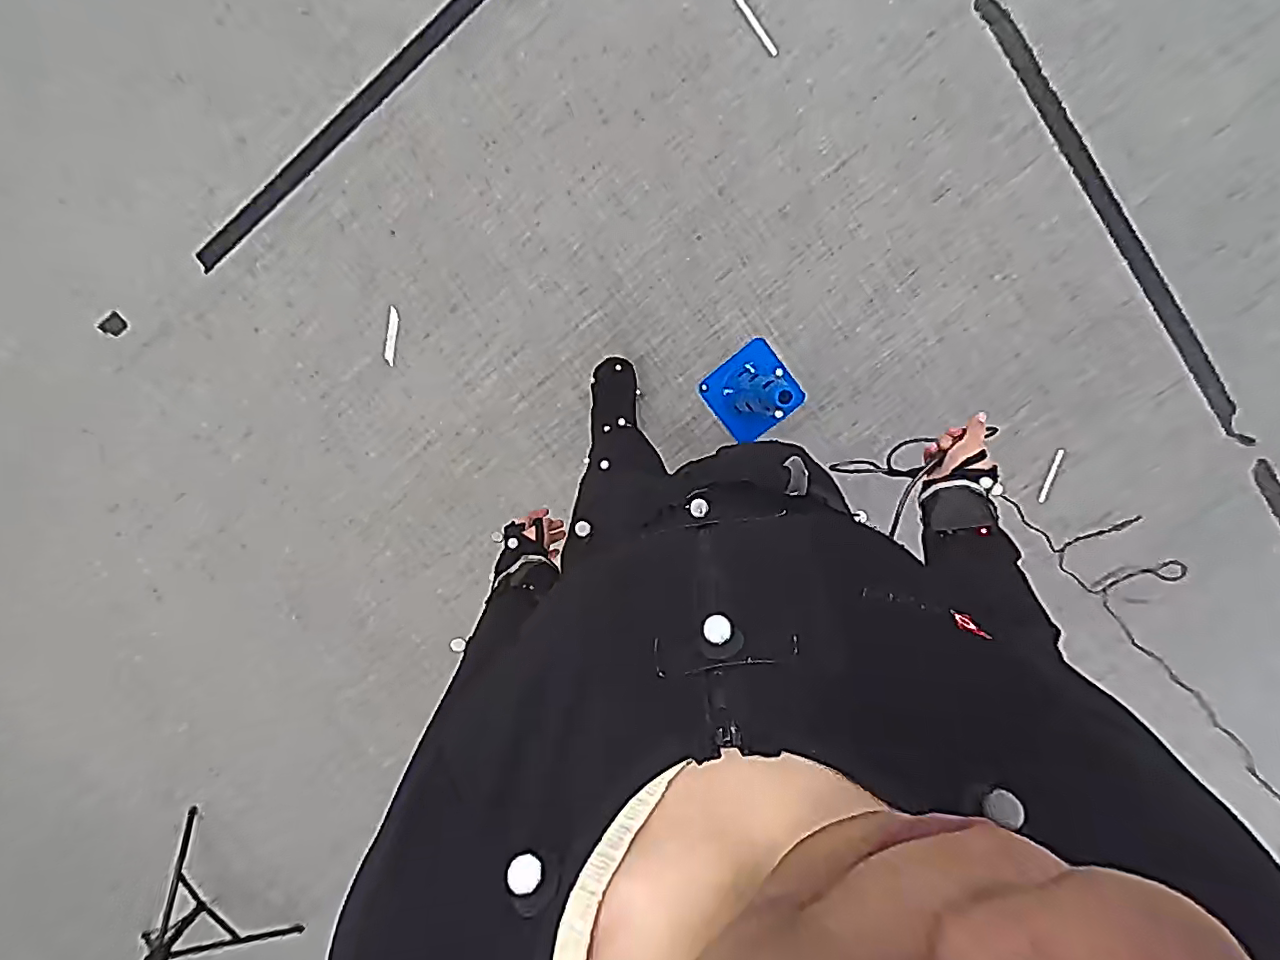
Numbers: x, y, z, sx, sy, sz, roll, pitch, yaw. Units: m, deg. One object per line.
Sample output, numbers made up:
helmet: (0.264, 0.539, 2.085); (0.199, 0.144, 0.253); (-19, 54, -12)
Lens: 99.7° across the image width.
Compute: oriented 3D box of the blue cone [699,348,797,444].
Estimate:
blue cone: (0.259, -0.174, 1.153); (0.192, 0.380, 0.193); (-37, 97, 9)
